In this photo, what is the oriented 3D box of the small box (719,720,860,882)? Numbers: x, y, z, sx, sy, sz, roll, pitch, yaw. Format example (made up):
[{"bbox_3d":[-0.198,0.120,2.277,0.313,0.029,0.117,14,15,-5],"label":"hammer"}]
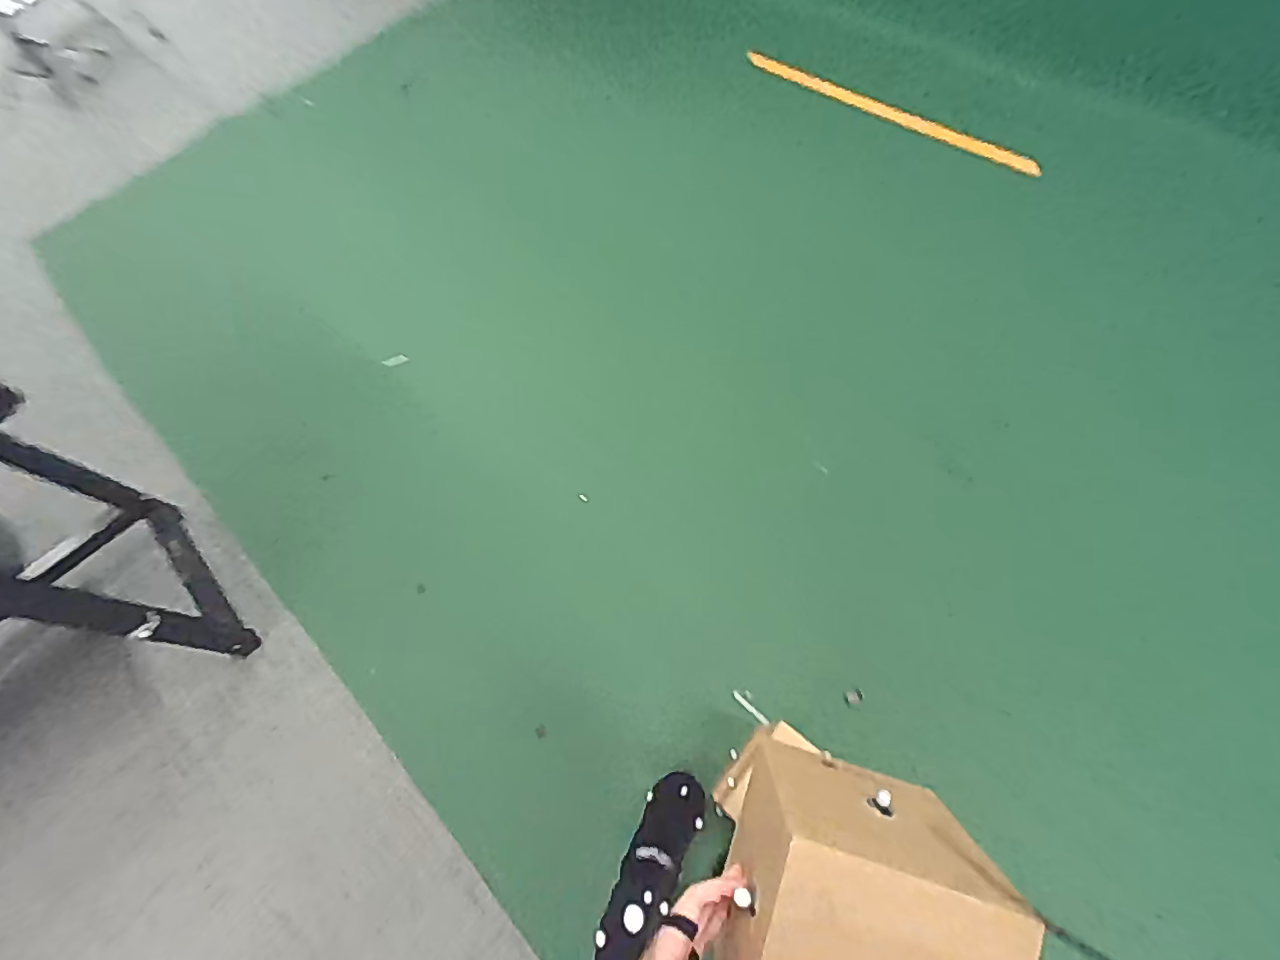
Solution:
[{"bbox_3d":[0.252,0.553,0.961,0.168,0.176,0.179,37,73,19],"label":"small box"}]
